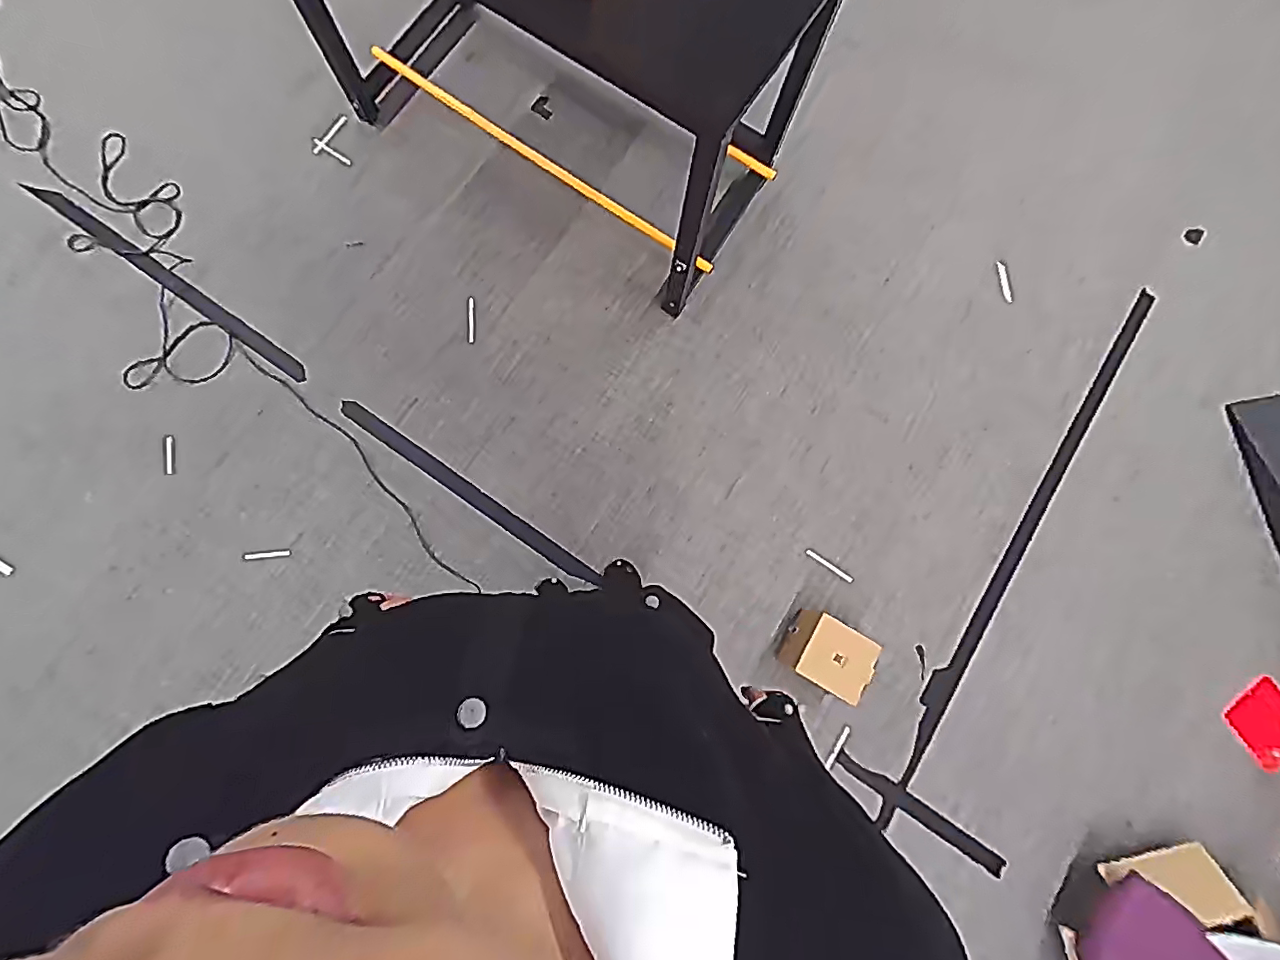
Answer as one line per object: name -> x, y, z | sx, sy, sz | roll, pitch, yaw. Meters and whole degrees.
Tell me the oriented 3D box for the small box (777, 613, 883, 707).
small box -> 0.492, 0.462, 1.422 | 0.179, 0.176, 0.168 | 30, 79, 3
